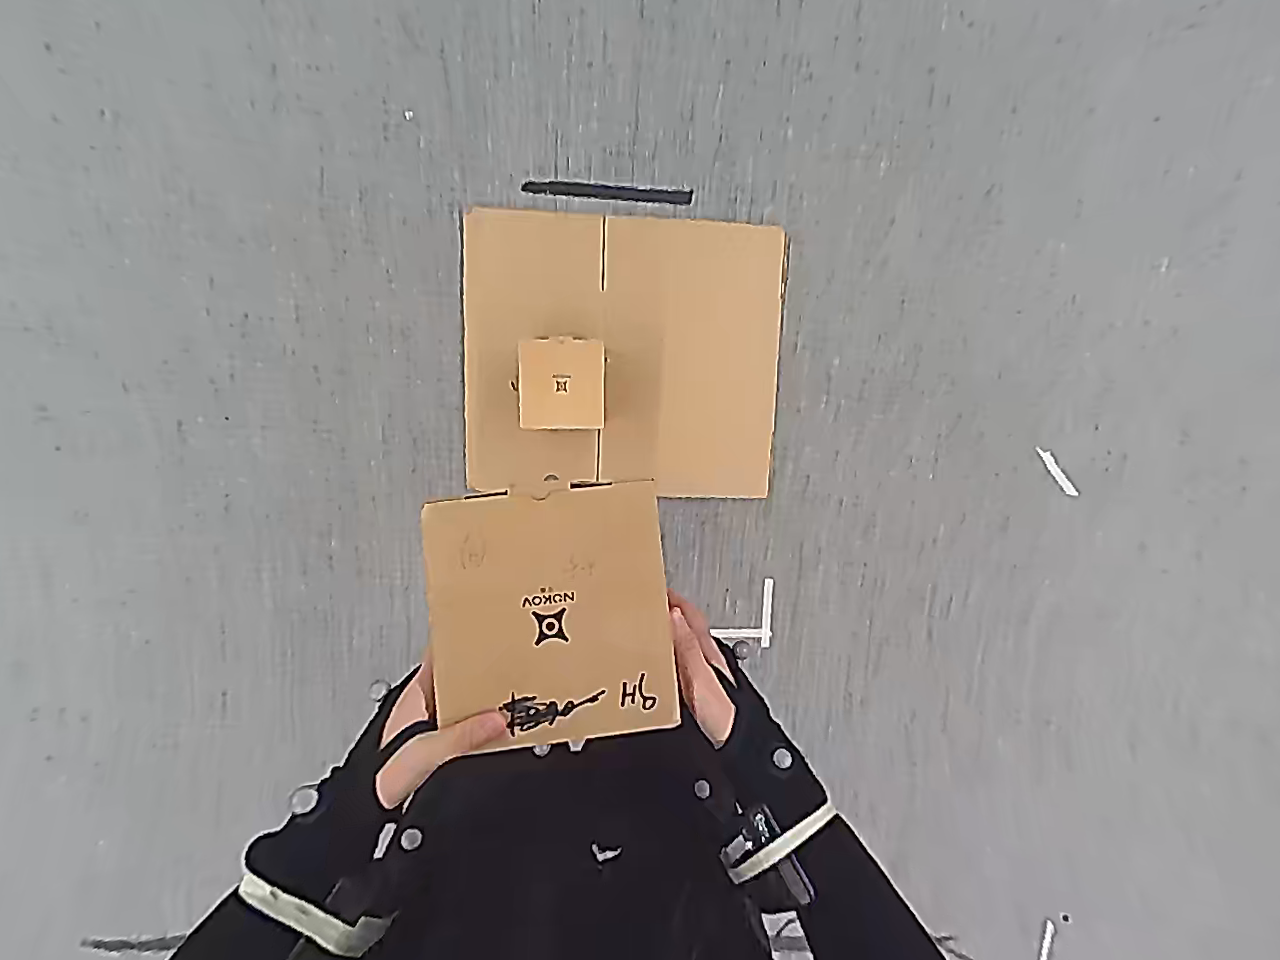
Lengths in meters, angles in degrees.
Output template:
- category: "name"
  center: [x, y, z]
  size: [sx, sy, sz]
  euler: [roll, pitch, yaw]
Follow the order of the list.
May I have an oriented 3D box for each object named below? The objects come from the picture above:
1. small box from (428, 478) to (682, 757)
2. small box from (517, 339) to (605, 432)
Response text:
- category: "small box"
  center: [-0.065, 0.101, 0.453]
  size: [0.168, 0.176, 0.179]
  euler: [-6, 84, -3]
- category: "small box"
  center: [-0.157, -0.193, 1.117]
  size: [0.168, 0.176, 0.179]
  euler: [-1, 98, -4]
